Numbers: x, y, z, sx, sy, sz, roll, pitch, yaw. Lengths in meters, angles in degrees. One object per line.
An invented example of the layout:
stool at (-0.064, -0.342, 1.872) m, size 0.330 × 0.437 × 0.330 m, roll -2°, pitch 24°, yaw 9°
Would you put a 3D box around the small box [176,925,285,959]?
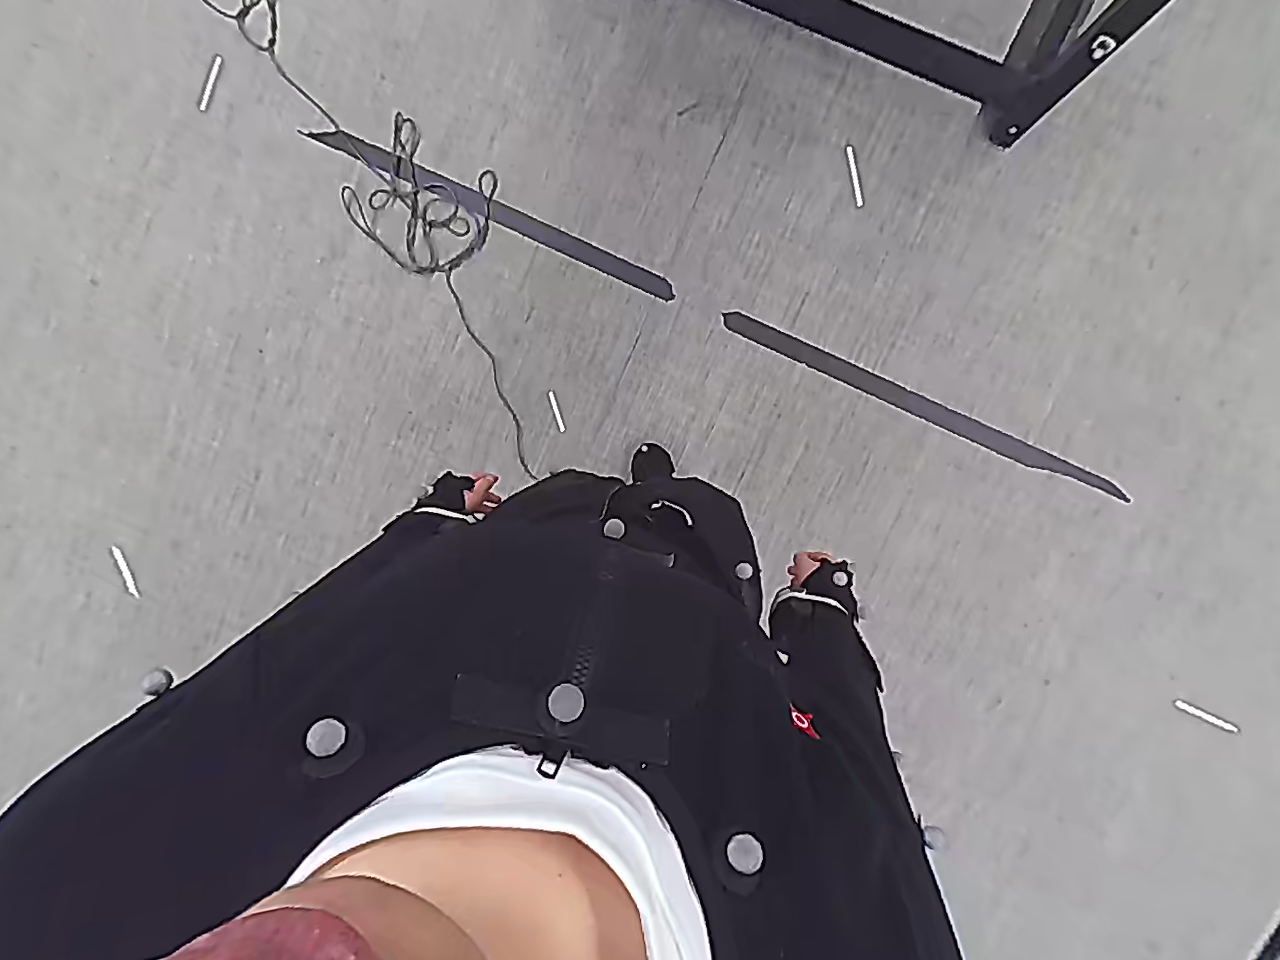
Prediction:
small box at (-0.646, 0.814, 0.789) m, size 0.179 × 0.176 × 0.168 m, roll 26°, pitch 96°, yaw 3°
